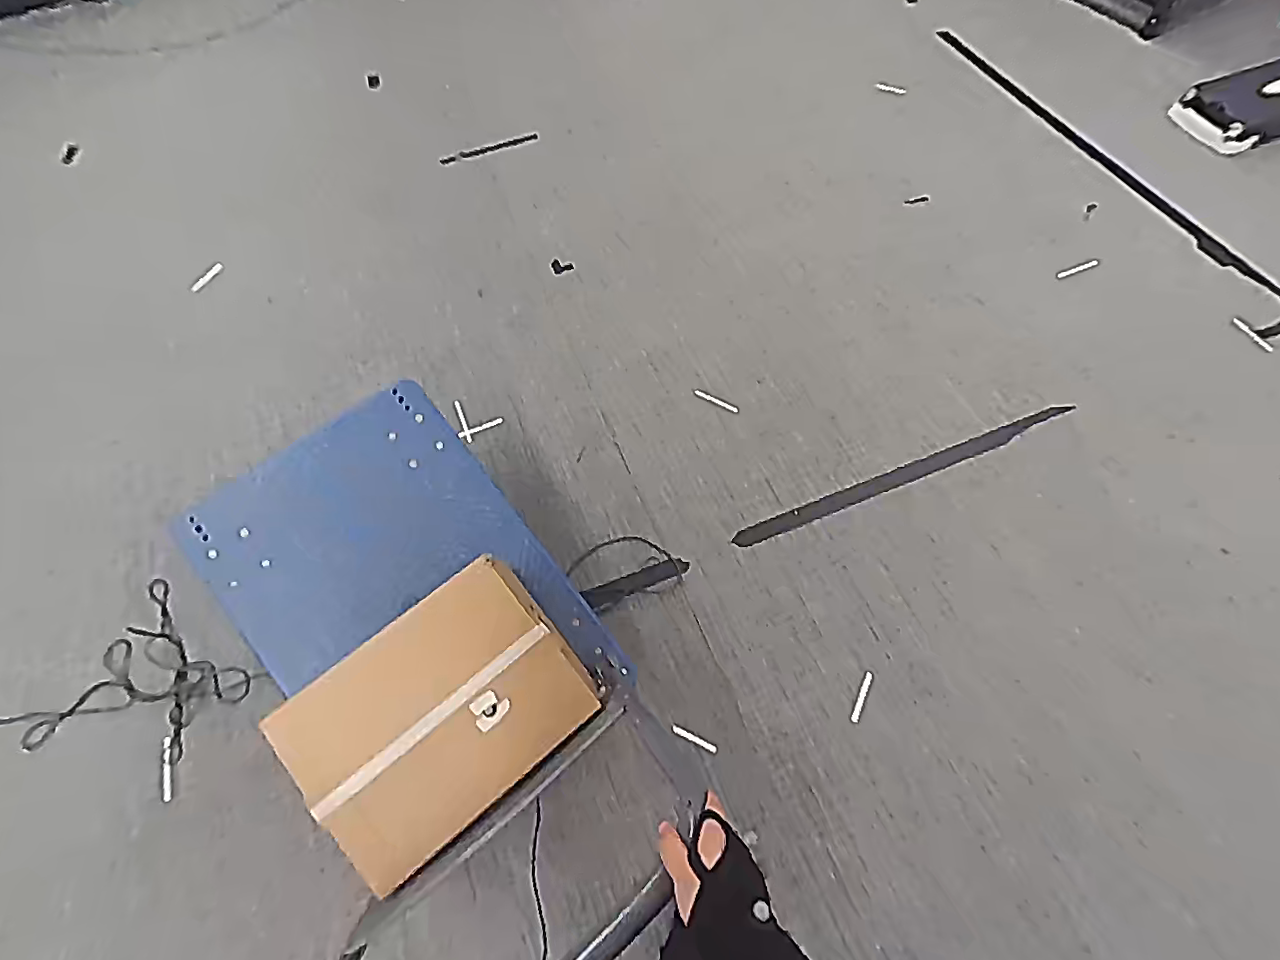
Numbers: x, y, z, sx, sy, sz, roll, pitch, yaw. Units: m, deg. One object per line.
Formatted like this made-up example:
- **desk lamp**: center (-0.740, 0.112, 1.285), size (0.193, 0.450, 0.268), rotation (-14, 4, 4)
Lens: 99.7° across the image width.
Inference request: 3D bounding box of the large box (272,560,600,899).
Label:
- **large box**: center (-0.326, 0.405, 0.978), size (0.408, 0.320, 0.320), rotation (-38, 85, -15)
